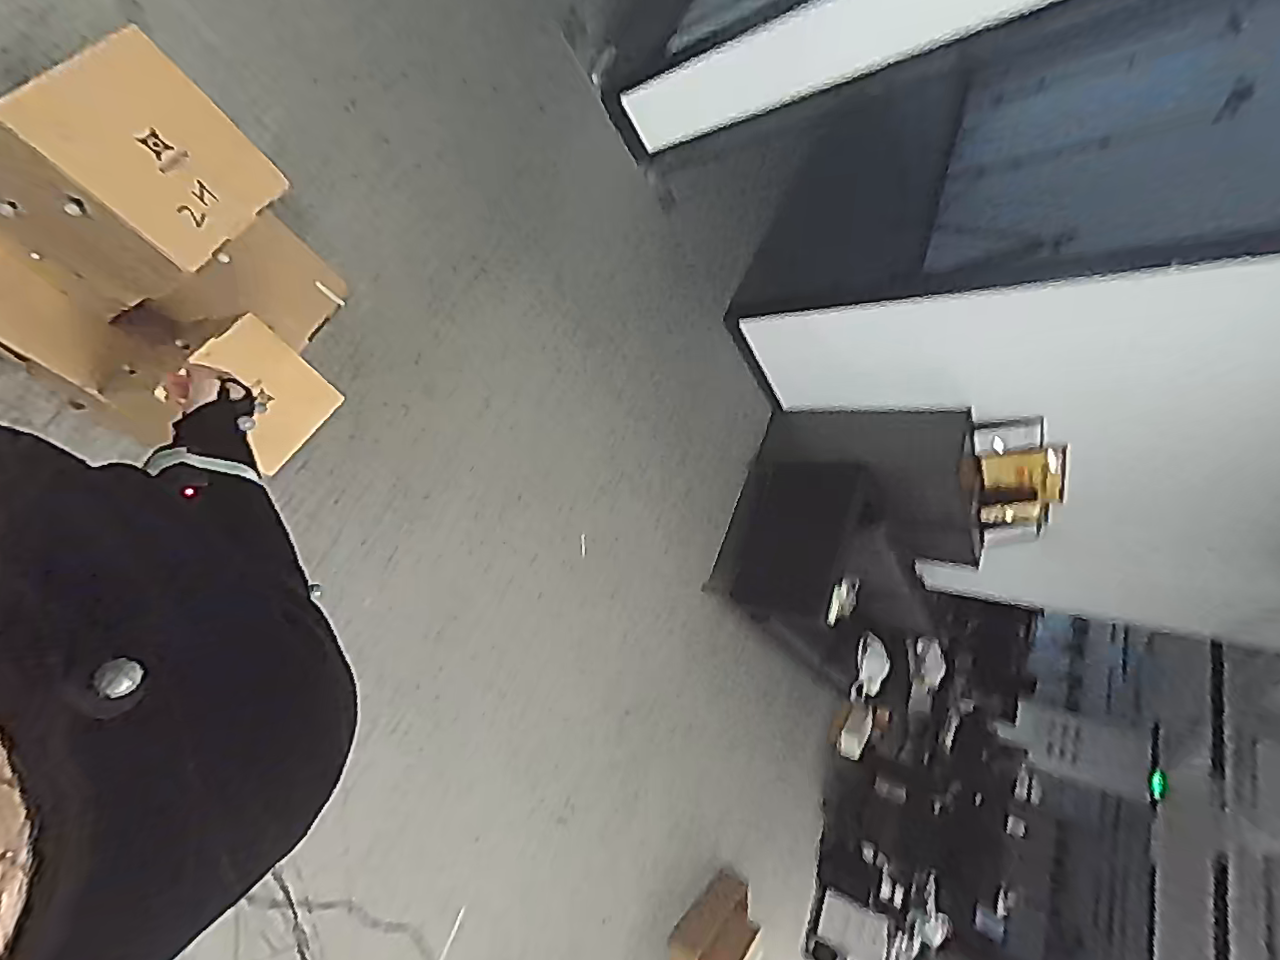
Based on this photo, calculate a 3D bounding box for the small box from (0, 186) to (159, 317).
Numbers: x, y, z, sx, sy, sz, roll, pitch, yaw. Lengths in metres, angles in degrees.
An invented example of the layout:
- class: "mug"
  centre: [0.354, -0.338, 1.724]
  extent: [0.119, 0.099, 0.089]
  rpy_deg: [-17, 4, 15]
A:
- class: "small box"
  centre: [-0.796, -0.372, 0.815]
  extent: [0.168, 0.176, 0.179]
  rpy_deg: [52, 54, -40]

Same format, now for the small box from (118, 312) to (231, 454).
- class: "small box"
  centre: [-0.731, -0.157, 0.921]
  extent: [0.168, 0.176, 0.179]
  rpy_deg: [55, 52, -42]

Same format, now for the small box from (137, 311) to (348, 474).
- class: "small box"
  centre: [-0.602, -0.132, 0.825]
  extent: [0.179, 0.176, 0.168]
  rpy_deg: [54, 53, -40]

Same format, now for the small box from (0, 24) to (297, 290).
- class: "small box"
  centre: [-0.543, -0.341, 0.604]
  extent: [0.179, 0.176, 0.168]
  rpy_deg: [50, 56, -41]
